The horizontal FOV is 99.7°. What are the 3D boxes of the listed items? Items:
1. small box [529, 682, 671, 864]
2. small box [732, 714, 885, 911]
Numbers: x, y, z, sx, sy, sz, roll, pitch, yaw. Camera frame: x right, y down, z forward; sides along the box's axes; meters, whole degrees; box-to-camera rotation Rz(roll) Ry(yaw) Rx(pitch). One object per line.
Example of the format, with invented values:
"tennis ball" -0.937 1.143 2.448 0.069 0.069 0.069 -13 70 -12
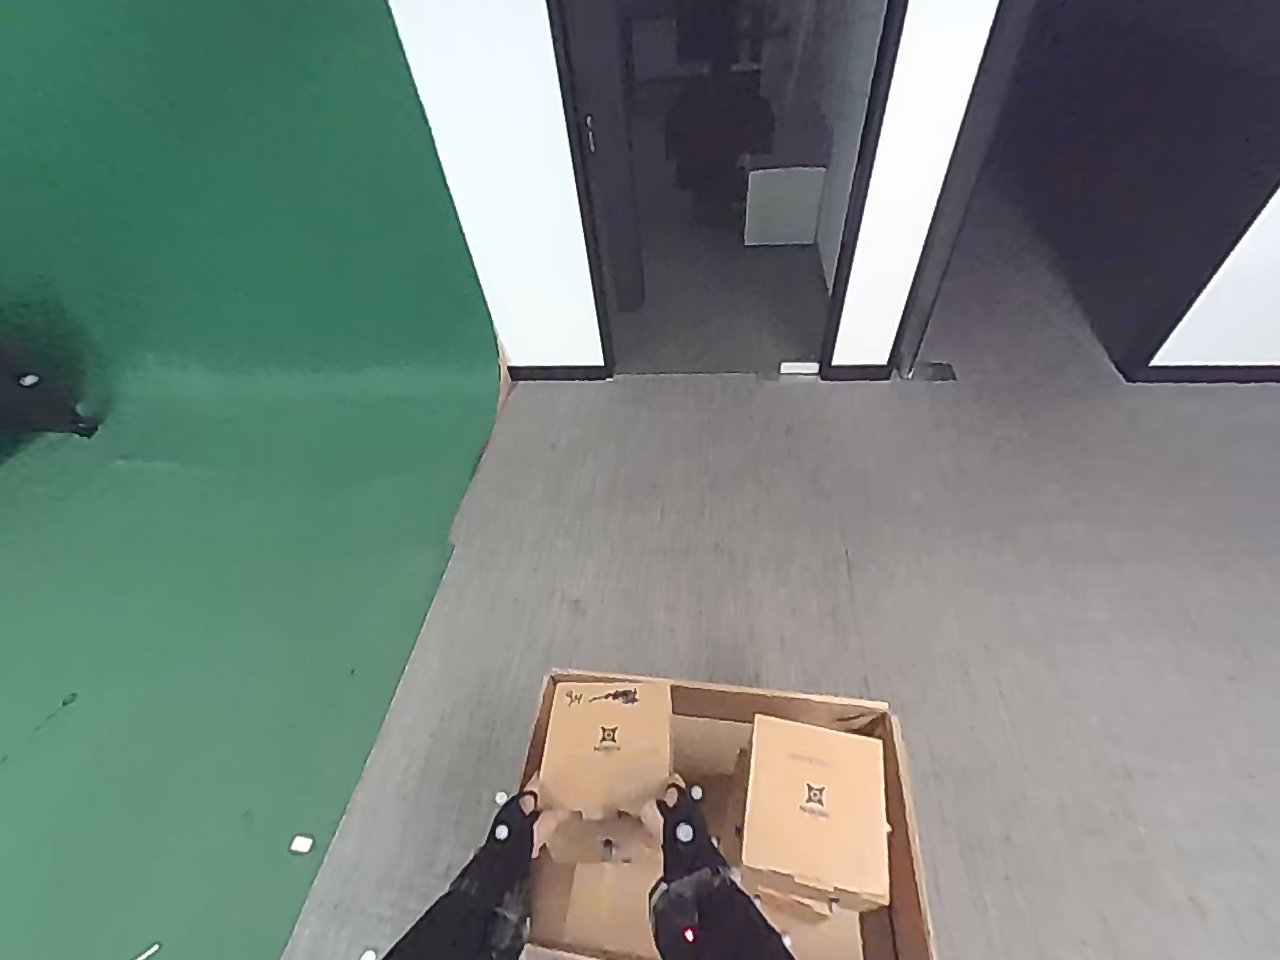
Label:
"small box" -0.042 0.404 0.747 0.168 0.176 0.179 -1 37 4
"small box" 0.217 0.442 0.716 0.168 0.176 0.179 8 50 12
